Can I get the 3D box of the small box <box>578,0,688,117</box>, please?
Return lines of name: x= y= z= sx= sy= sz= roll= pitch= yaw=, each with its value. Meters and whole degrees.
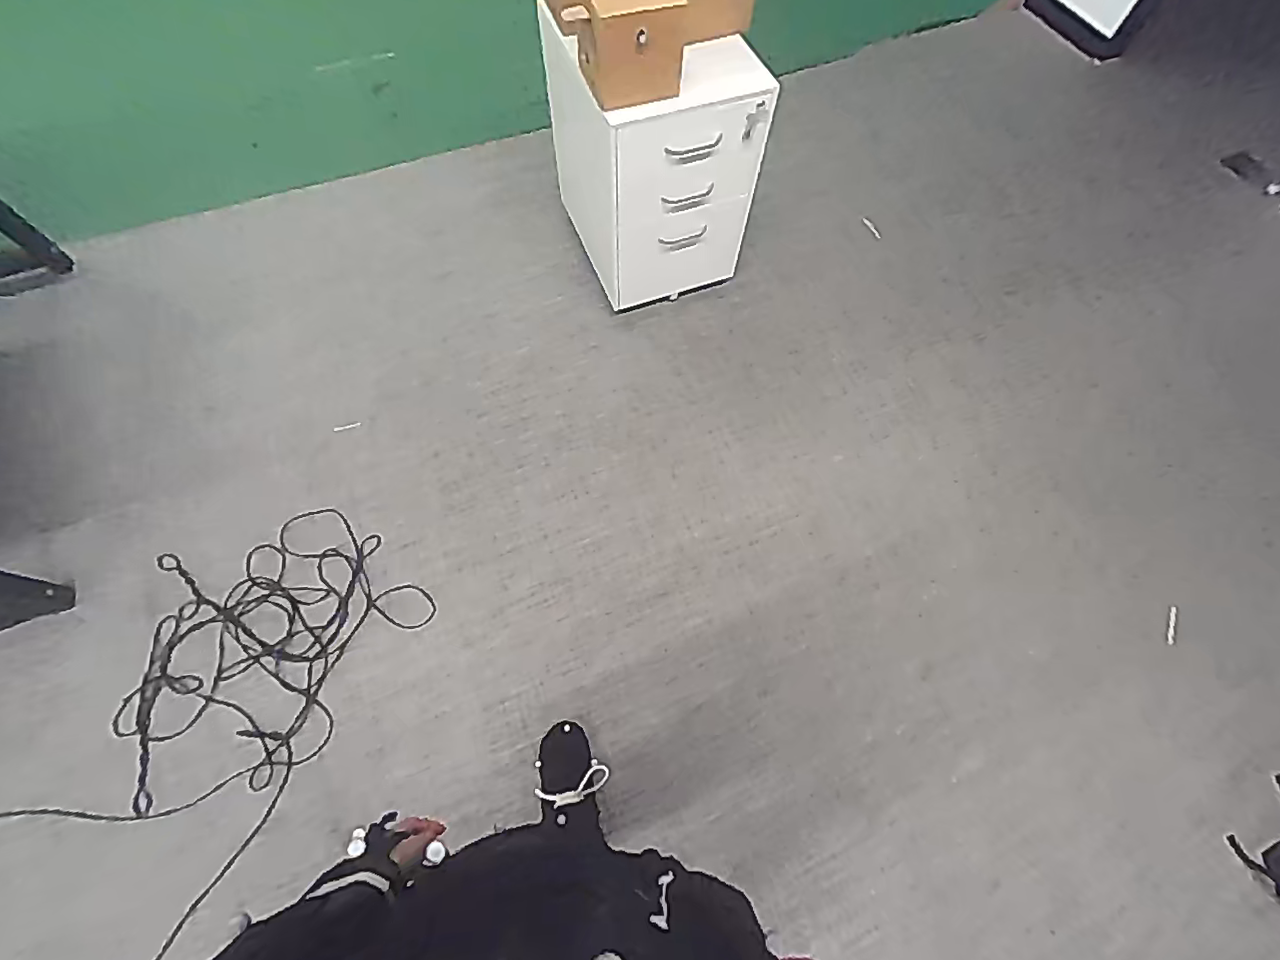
small box: x=-0.021 y=-0.881 z=1.099 sx=0.179 sy=0.176 sz=0.168 roll=-19 pitch=67 yaw=-10

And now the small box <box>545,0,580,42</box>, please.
small box: x=-0.119 y=-1.117 z=1.203 sx=0.179 sy=0.176 sz=0.168 roll=-18 pitch=69 yaw=-11
